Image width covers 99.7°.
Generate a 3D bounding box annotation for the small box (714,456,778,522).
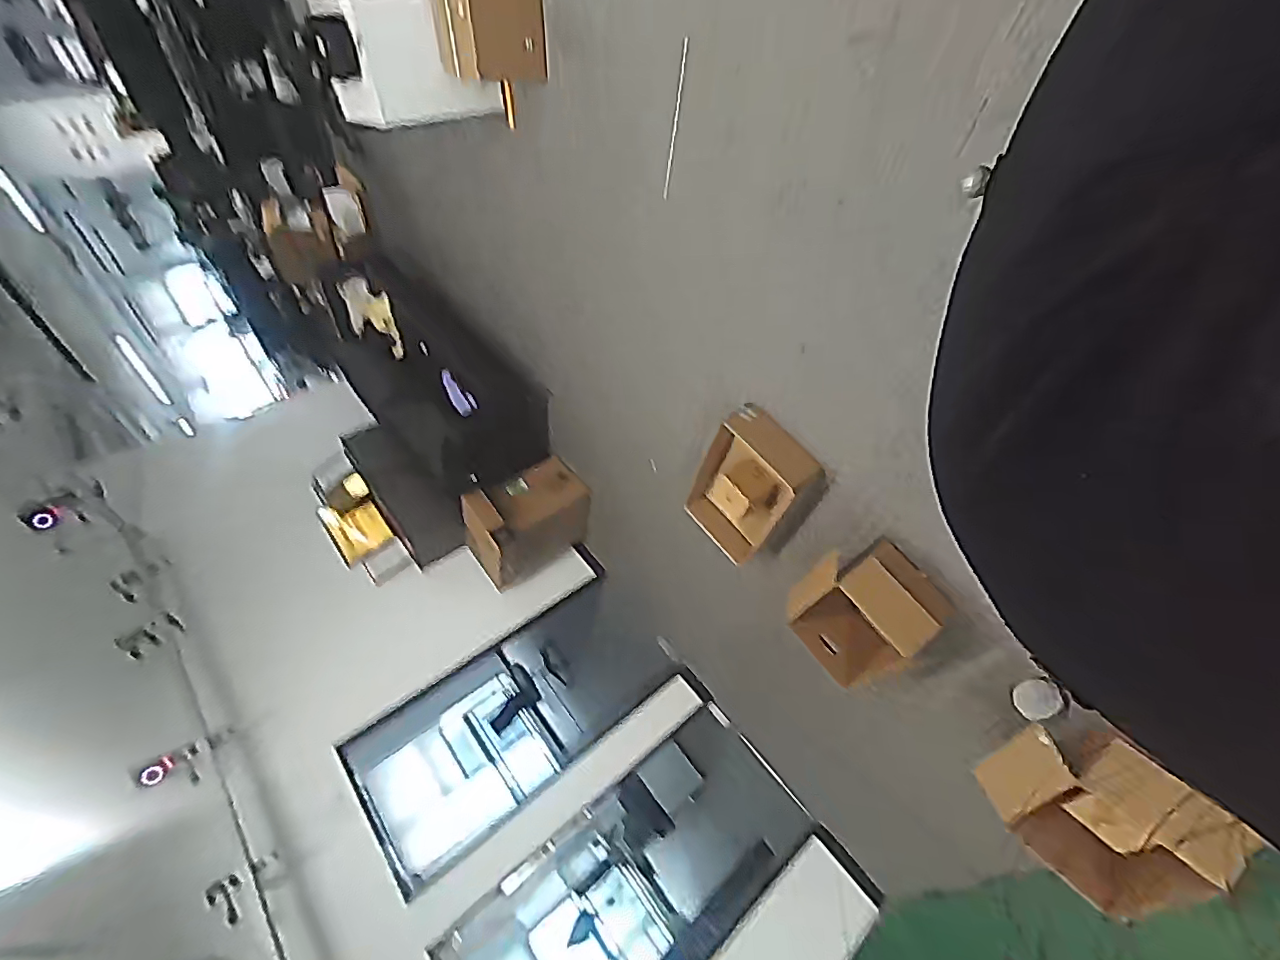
[{"bbox_3d":[0.434,0.036,2.203,0.168,0.176,0.179,49,150,22],"label":"small box"}]
